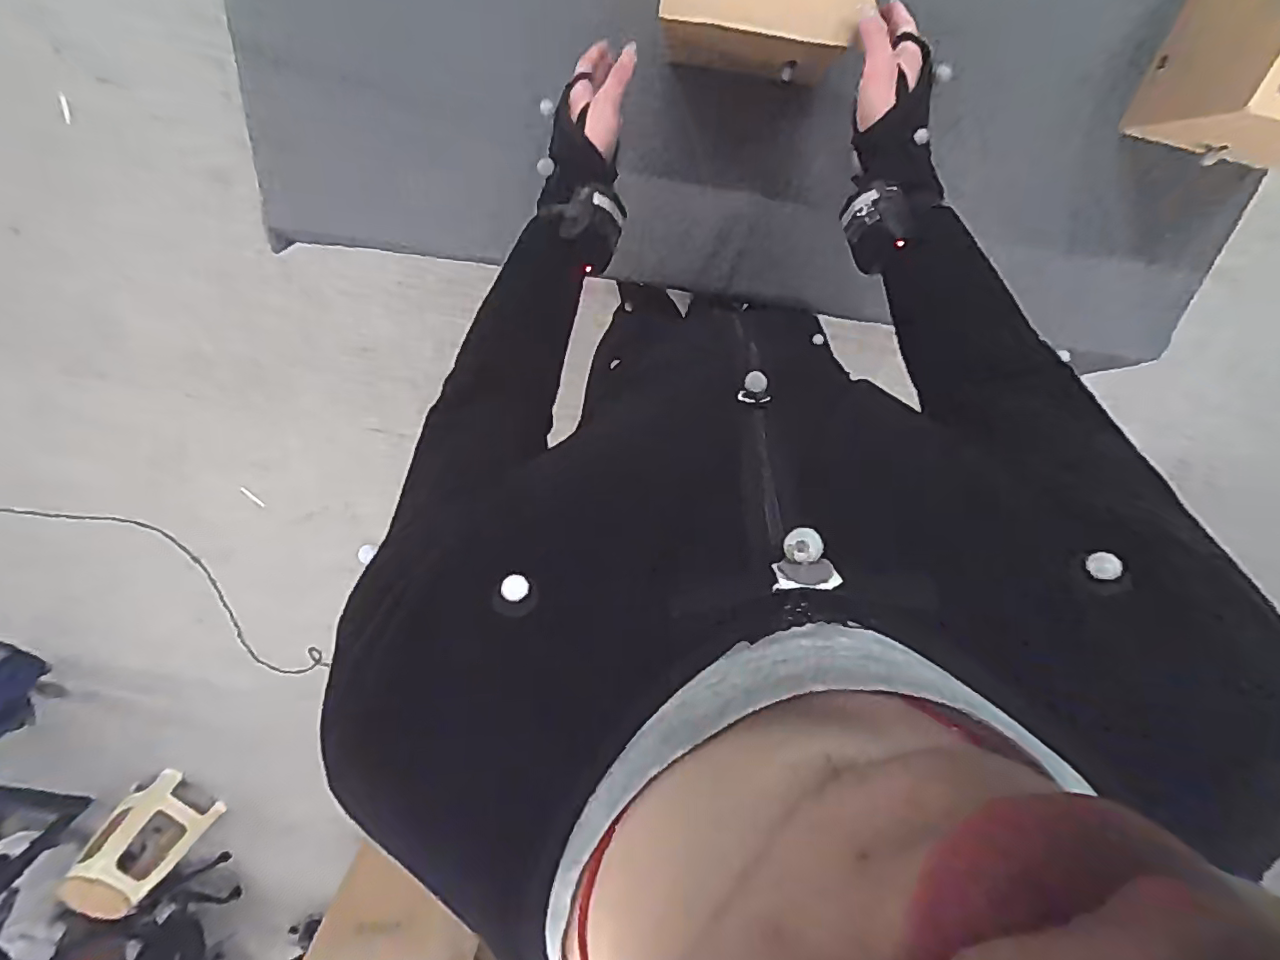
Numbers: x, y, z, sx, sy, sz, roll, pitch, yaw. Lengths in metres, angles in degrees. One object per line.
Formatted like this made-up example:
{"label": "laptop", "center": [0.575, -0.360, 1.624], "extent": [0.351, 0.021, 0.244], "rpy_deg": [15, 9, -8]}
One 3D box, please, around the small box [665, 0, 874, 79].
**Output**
{"label": "small box", "center": [0.124, -0.493, 0.500], "extent": [0.179, 0.176, 0.168], "rpy_deg": [9, 118, 0]}

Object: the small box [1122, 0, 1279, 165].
{"label": "small box", "center": [0.634, -0.407, 0.508], "extent": [0.179, 0.176, 0.168], "rpy_deg": [13, 119, -3]}
